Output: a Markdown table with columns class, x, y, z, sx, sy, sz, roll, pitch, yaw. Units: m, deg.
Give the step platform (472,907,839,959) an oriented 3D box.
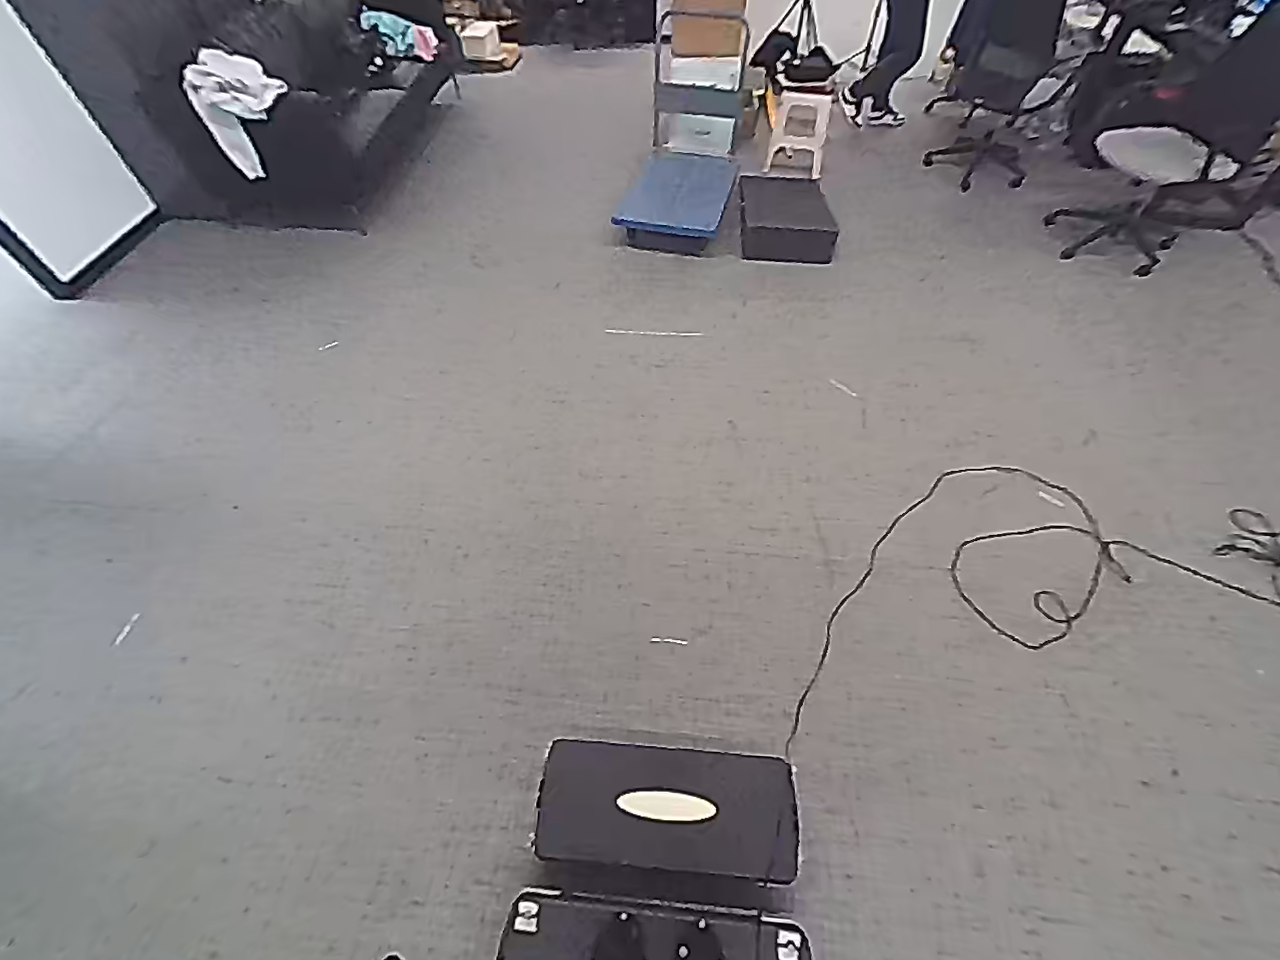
| class | x | y | z | sx | sy | sz | roll | pitch | yaw |
| --- | --- | --- | --- | --- | --- | --- | --- | --- | --- |
| step platform | 0.023 | 0.986 | 0.978 | 0.684 | 0.204 | 0.286 | 5 | 53 | 2 |
